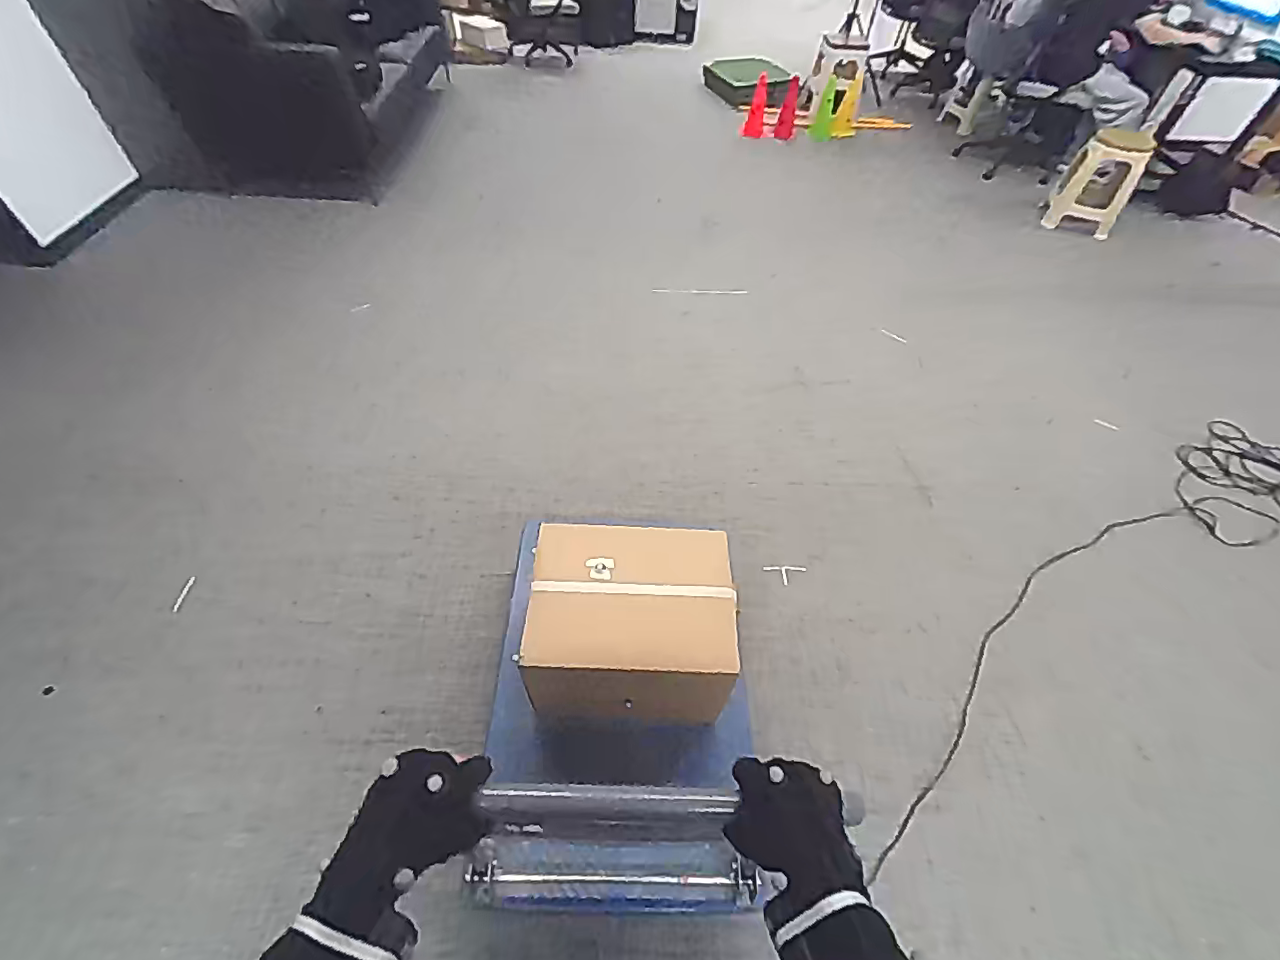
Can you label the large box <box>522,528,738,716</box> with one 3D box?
[{"bbox_3d":[-0.018,0.319,1.193,0.408,0.320,0.320,2,50,0],"label":"large box"}]
